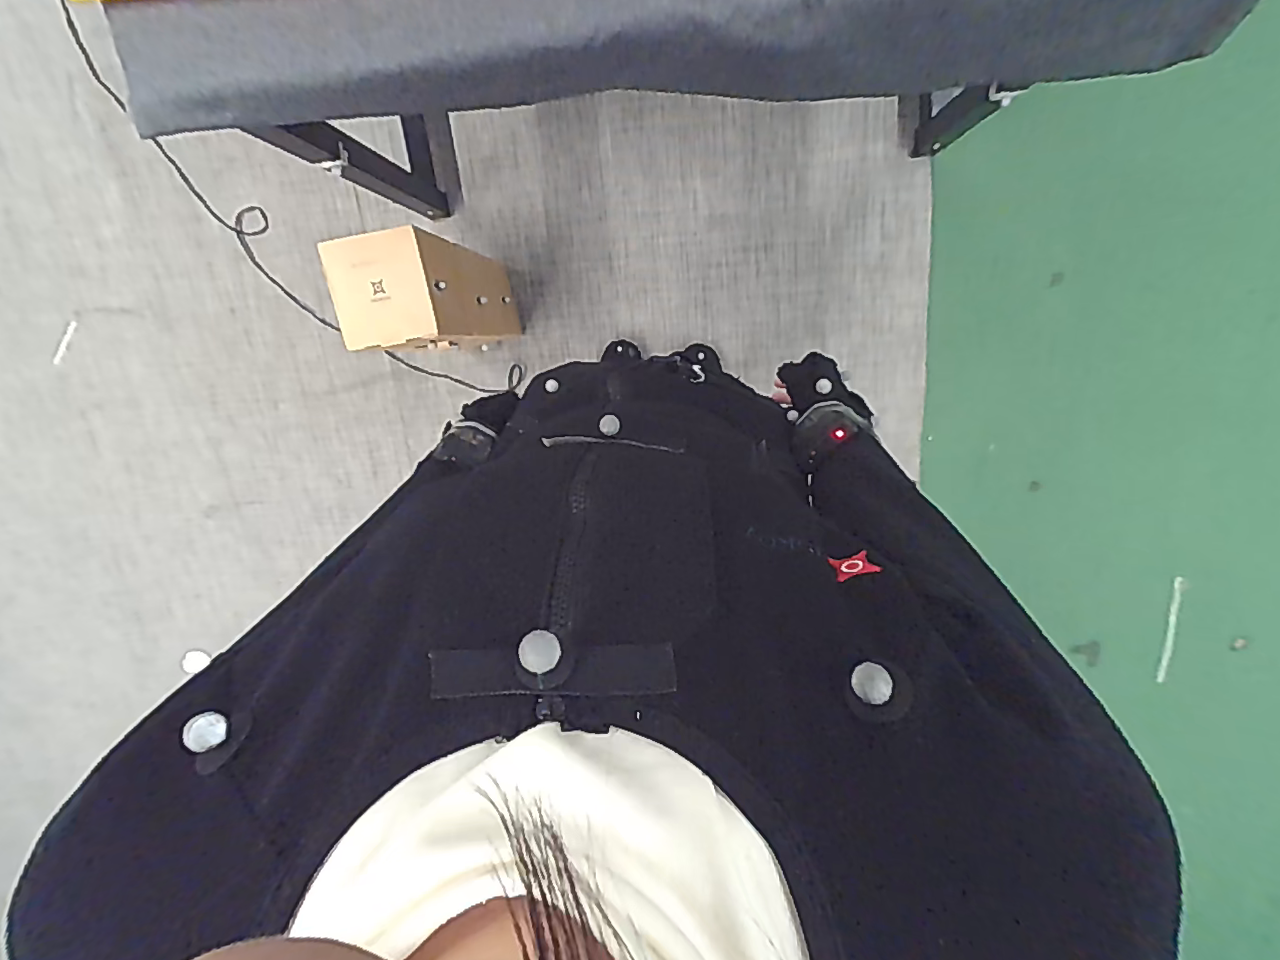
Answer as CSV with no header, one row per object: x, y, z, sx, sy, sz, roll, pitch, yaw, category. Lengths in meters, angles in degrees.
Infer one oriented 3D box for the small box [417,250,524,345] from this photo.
-0.390,-0.422,1.275,0.168,0.176,0.179,-11,104,7,small box
